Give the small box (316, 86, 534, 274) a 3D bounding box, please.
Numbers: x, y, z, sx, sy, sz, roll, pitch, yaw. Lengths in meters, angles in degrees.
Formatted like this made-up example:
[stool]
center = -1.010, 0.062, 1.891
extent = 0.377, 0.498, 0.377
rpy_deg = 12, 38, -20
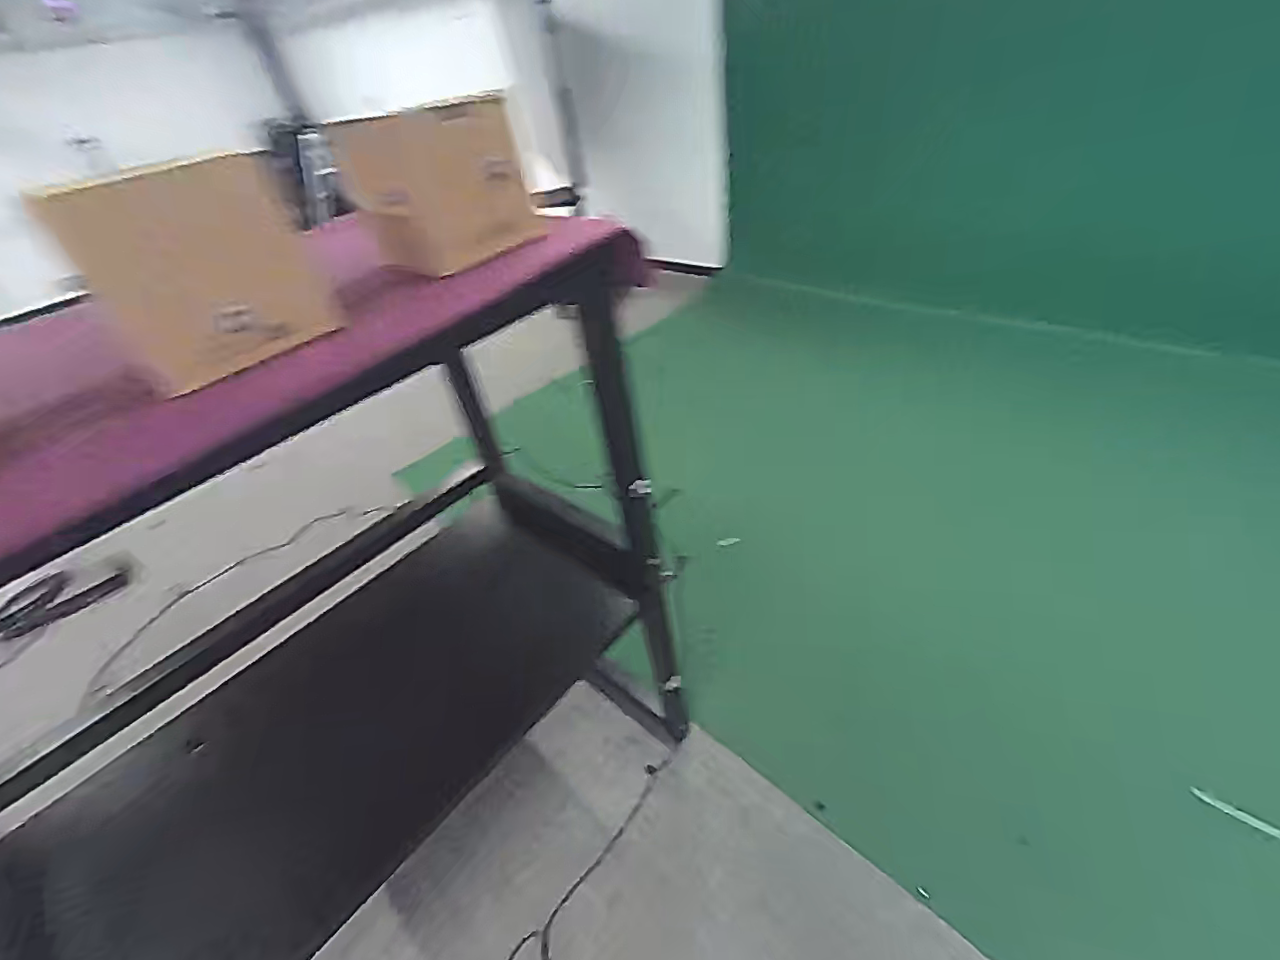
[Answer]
[small box]
center = -0.262, -0.376, 0.688
extent = 0.179, 0.176, 0.168
rpy_deg = 25, 51, 37
